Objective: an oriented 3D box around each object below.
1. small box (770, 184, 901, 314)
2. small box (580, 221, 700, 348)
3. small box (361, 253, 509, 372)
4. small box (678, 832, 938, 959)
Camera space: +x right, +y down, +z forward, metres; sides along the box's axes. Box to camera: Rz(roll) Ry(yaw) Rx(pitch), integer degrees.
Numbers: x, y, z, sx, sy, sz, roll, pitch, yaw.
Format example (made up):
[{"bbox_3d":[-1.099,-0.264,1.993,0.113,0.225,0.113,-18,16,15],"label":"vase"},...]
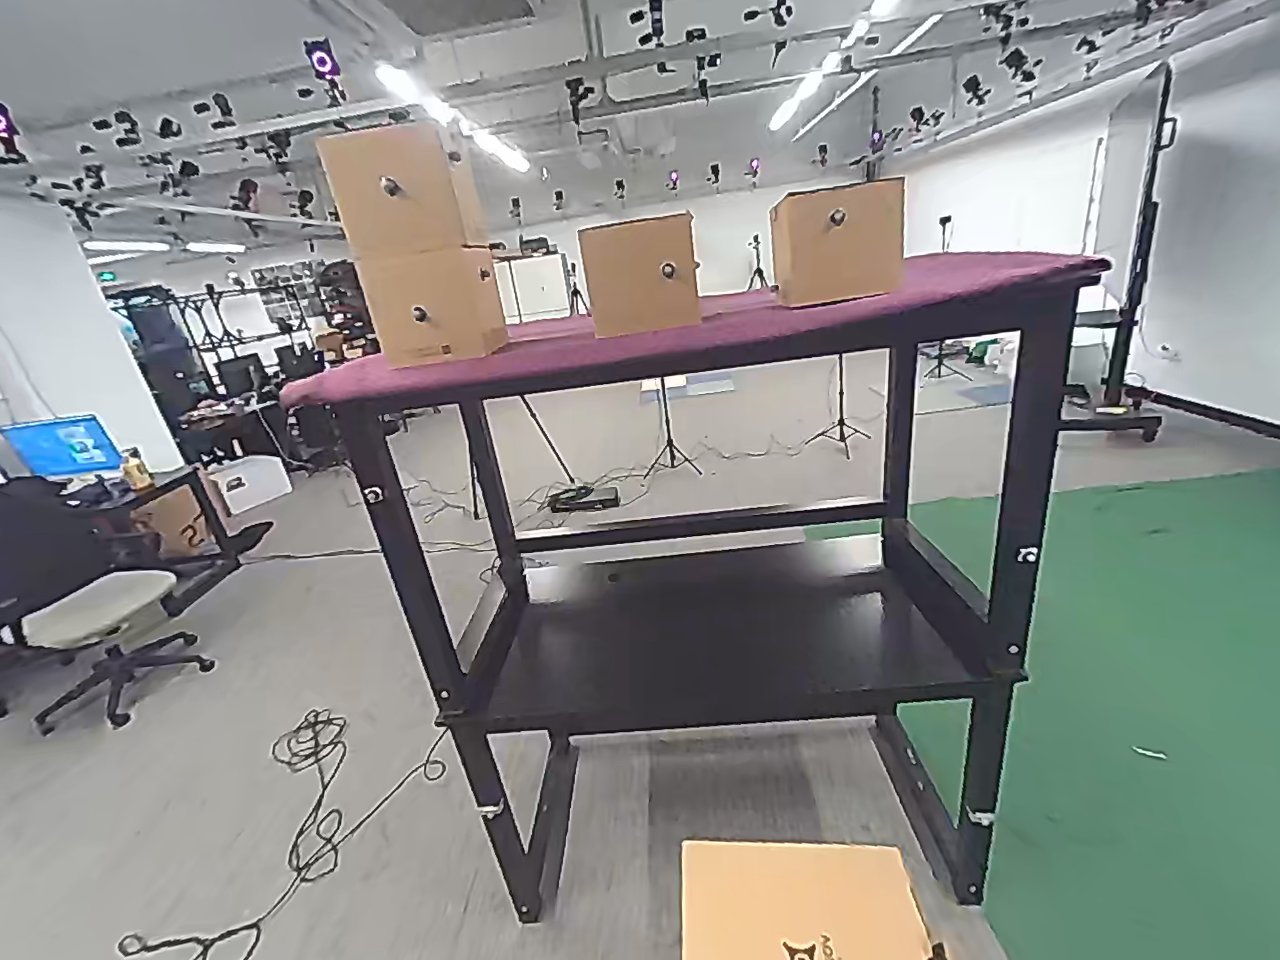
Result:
[{"bbox_3d":[0.327,-0.382,0.919,0.179,0.176,0.168,-6,19,6],"label":"small box"},{"bbox_3d":[0.007,-0.332,0.922,0.179,0.176,0.168,-8,21,4],"label":"small box"},{"bbox_3d":[-0.333,-0.285,0.921,0.168,0.176,0.179,-6,22,2],"label":"small box"},{"bbox_3d":[0.120,0.399,0.400,0.179,0.176,0.168,-2,21,5],"label":"small box"}]
